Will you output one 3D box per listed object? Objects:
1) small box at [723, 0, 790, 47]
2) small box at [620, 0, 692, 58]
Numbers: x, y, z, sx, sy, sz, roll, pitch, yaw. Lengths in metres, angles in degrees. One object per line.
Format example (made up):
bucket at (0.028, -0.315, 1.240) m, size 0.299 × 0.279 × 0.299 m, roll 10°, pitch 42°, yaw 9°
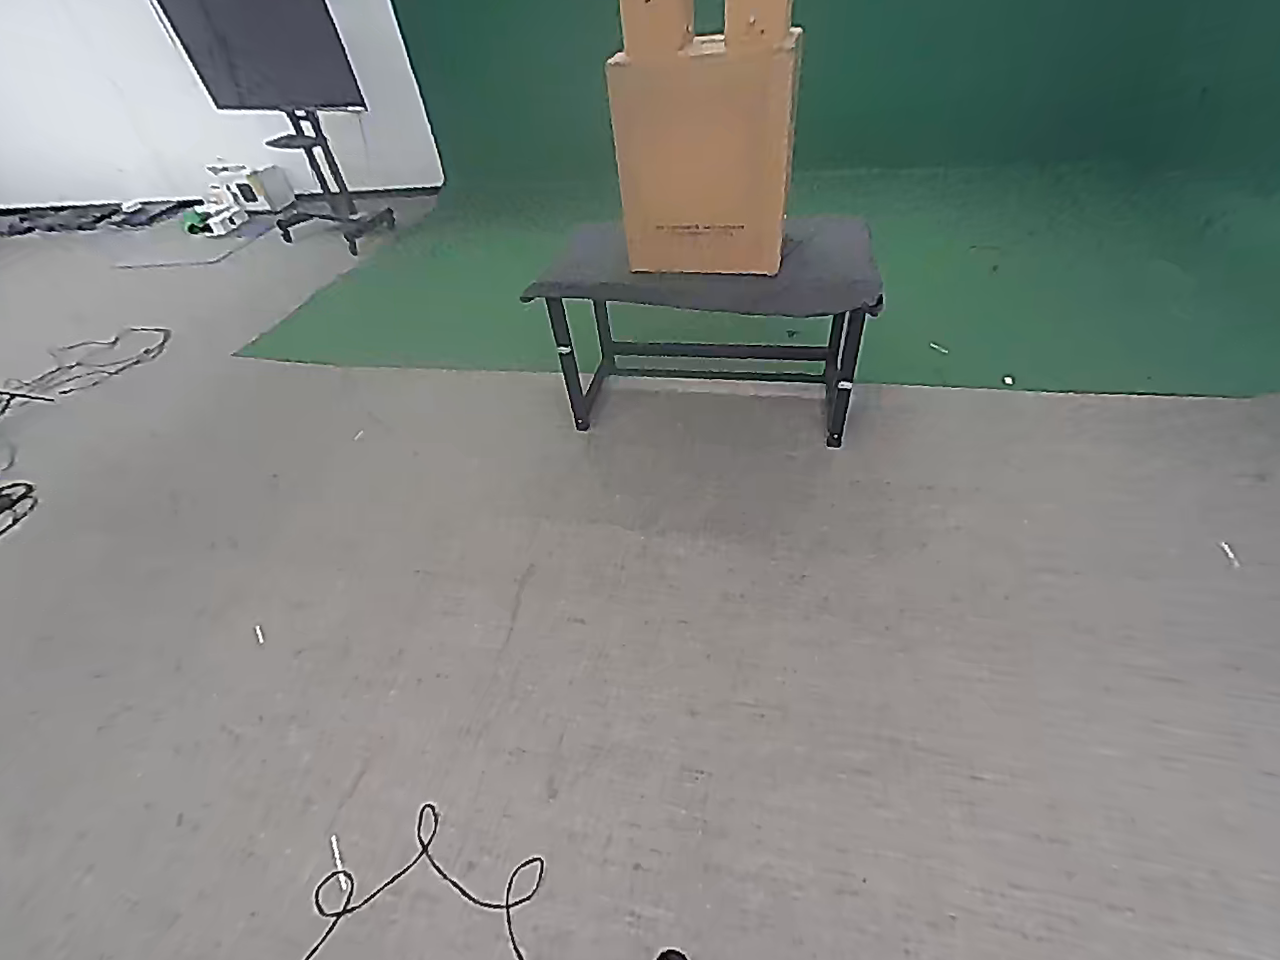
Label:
small box at (0.326, -1.326, 1.502) m, size 0.168 × 0.176 × 0.179 m, roll 9°, pitch 49°, yaw 14°
small box at (0.047, -1.349, 1.570) m, size 0.179 × 0.176 × 0.168 m, roll 9°, pitch 50°, yaw 15°
